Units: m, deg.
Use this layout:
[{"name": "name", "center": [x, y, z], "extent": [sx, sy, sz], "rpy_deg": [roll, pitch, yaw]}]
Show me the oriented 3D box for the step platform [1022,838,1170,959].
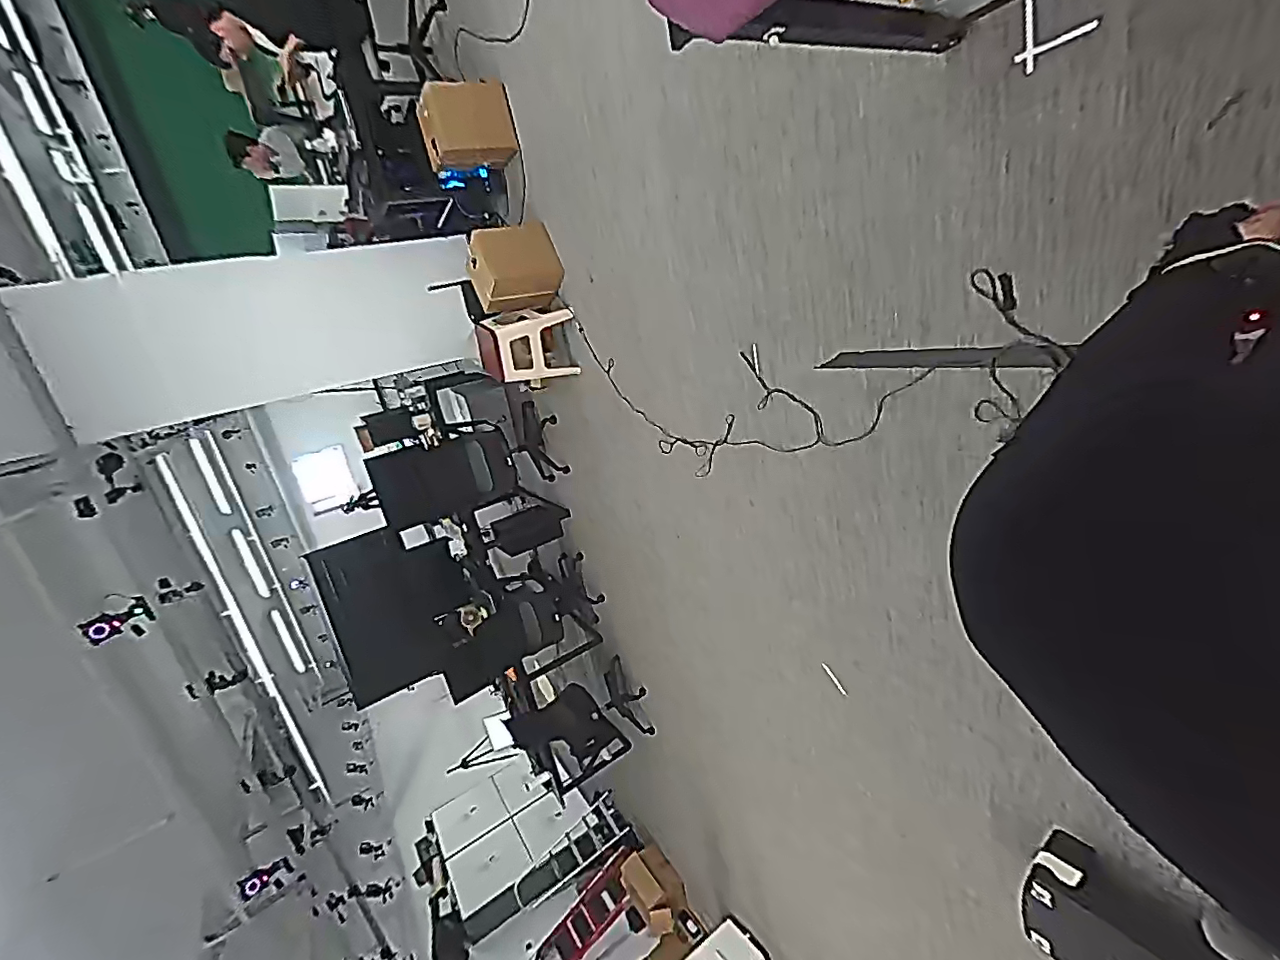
[{"name": "step platform", "center": [1.349, 1.257, 1.325], "extent": [0.684, 0.204, 0.286], "rpy_deg": [16, 123, 56]}]
